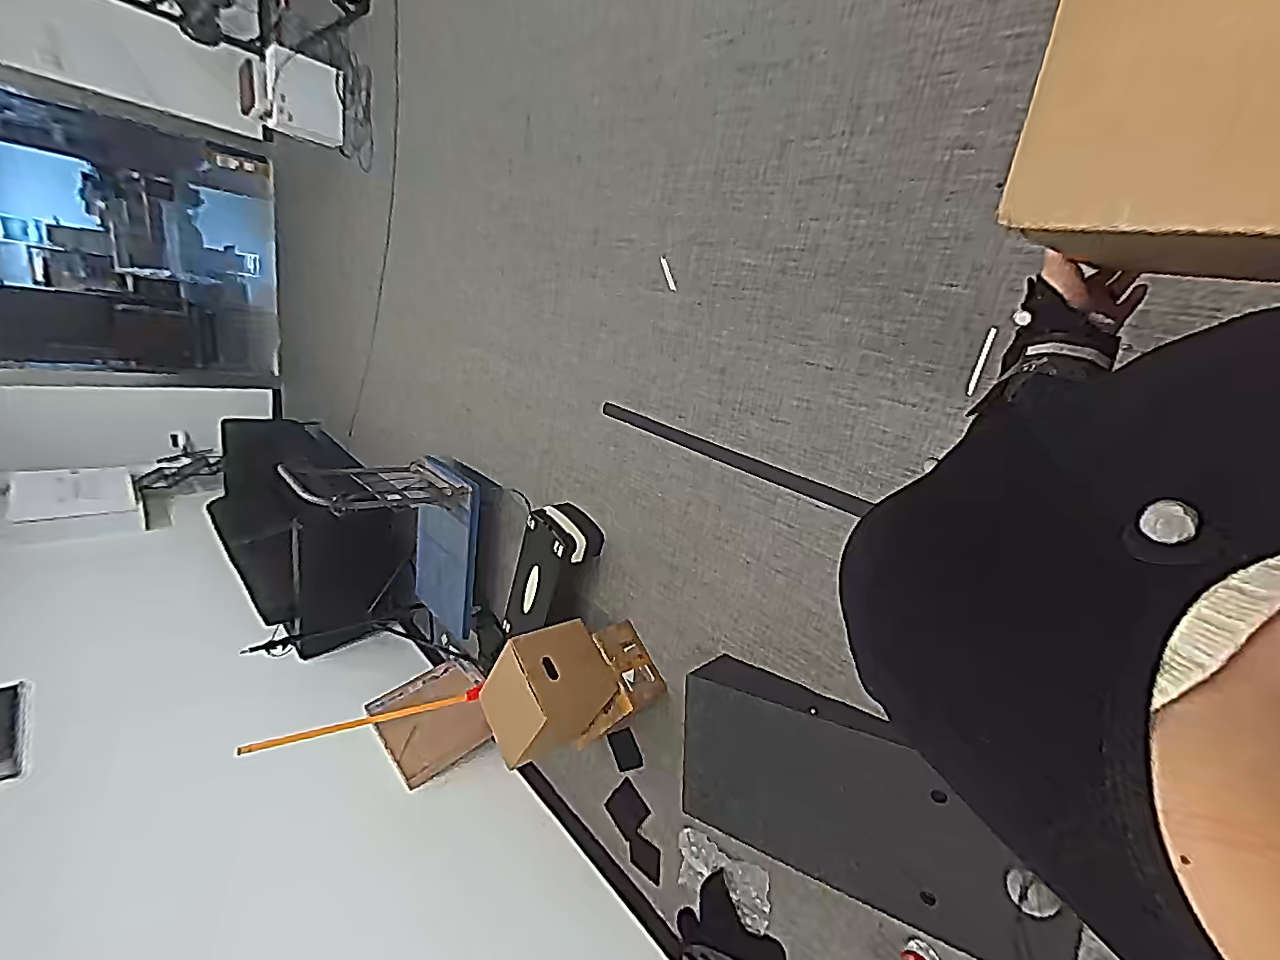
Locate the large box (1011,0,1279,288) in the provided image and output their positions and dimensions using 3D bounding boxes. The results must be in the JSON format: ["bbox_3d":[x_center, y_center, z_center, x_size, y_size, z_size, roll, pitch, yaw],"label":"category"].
[{"bbox_3d":[0.488,-0.259,0.260,0.408,0.320,0.320,26,119,42],"label":"large box"}]
